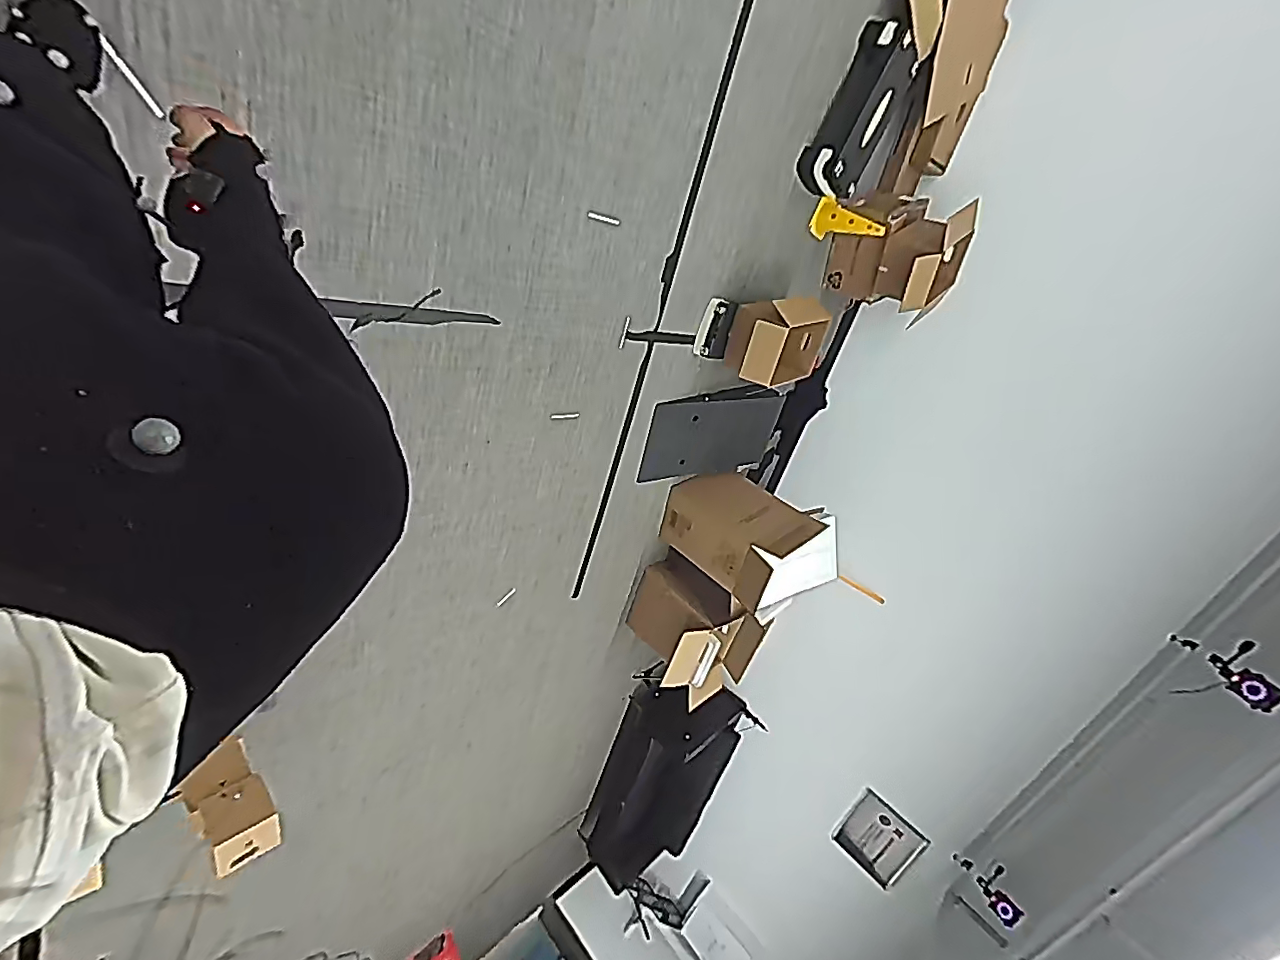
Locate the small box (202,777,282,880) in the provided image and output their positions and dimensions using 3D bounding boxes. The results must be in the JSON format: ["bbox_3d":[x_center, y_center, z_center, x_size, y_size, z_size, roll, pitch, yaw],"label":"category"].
[{"bbox_3d":[-1.240,1.079,1.687,0.168,0.176,0.179,-16,131,-47],"label":"small box"}]

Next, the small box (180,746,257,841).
[{"bbox_3d":[-1.369,1.021,1.773,0.179,0.176,0.168,-19,134,-43],"label":"small box"}]

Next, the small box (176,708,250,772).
[{"bbox_3d":[-1.472,0.934,1.868,0.168,0.176,0.179,-17,133,-44],"label":"small box"}]

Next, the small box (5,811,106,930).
[{"bbox_3d":[-1.620,1.071,1.501,0.179,0.176,0.168,-7,125,-49],"label":"small box"}]
